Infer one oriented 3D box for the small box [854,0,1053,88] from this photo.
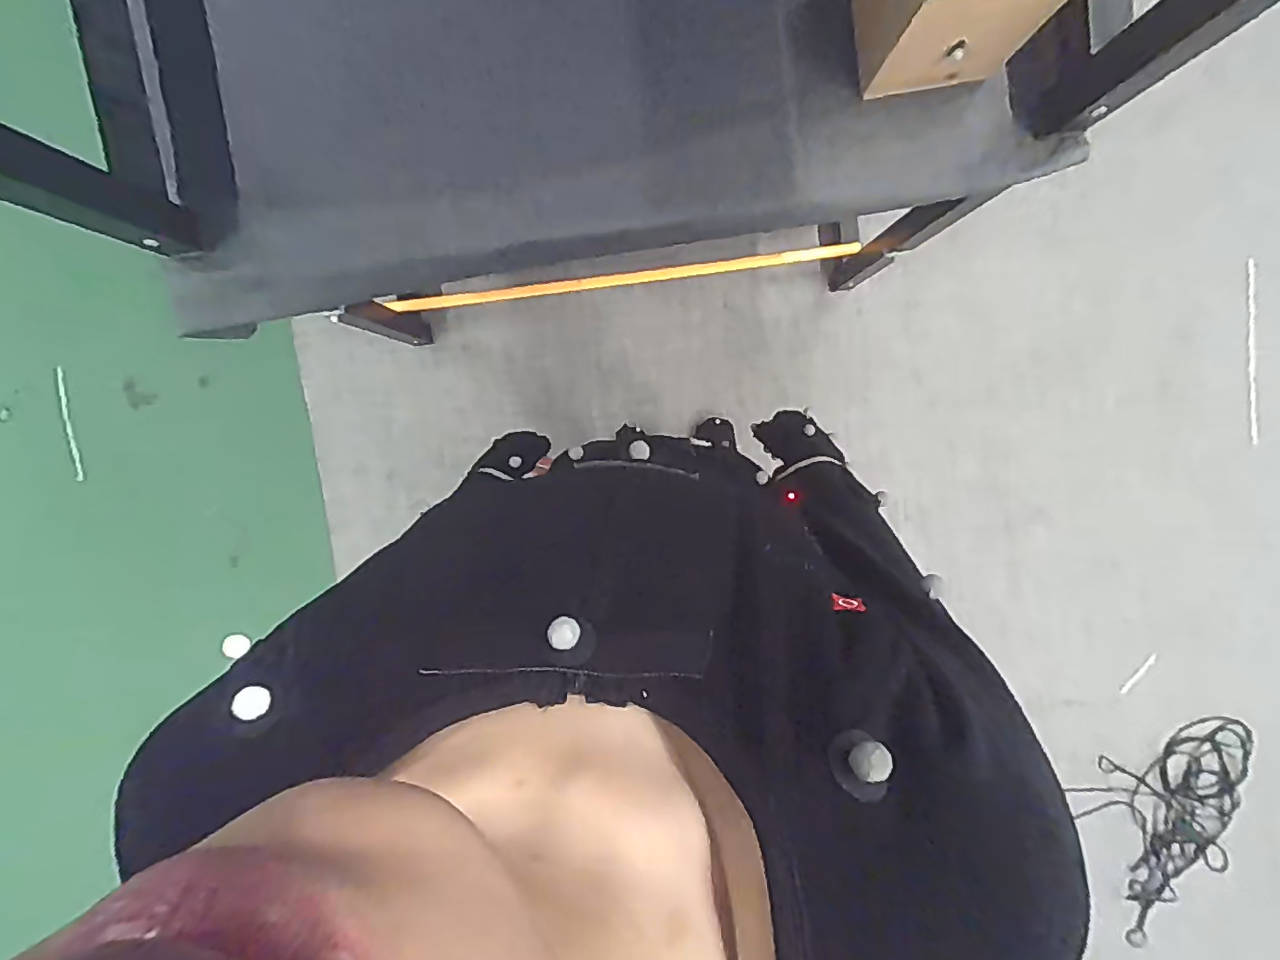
[{"bbox_3d":[0.350,-0.573,0.598,0.168,0.176,0.179,-9,95,1],"label":"small box"}]
